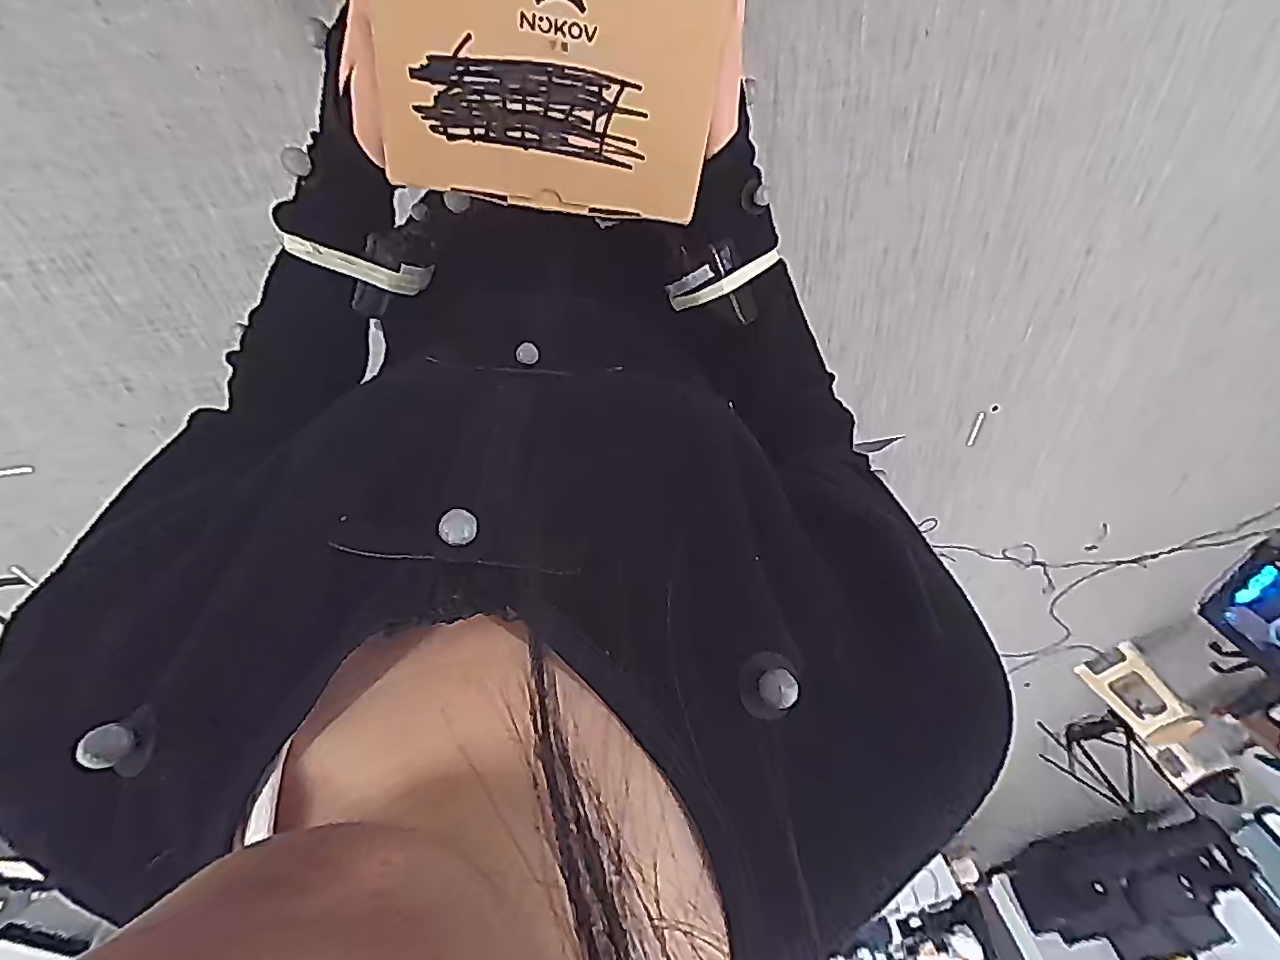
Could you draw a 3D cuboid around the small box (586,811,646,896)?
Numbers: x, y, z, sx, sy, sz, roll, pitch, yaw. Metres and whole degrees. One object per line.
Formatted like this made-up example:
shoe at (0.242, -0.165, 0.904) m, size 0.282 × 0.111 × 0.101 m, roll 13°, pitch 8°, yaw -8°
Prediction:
small box at (-0.075, 1.175, 1.705) m, size 0.168 × 0.176 × 0.179 m, roll -9°, pitch 131°, yaw -7°
